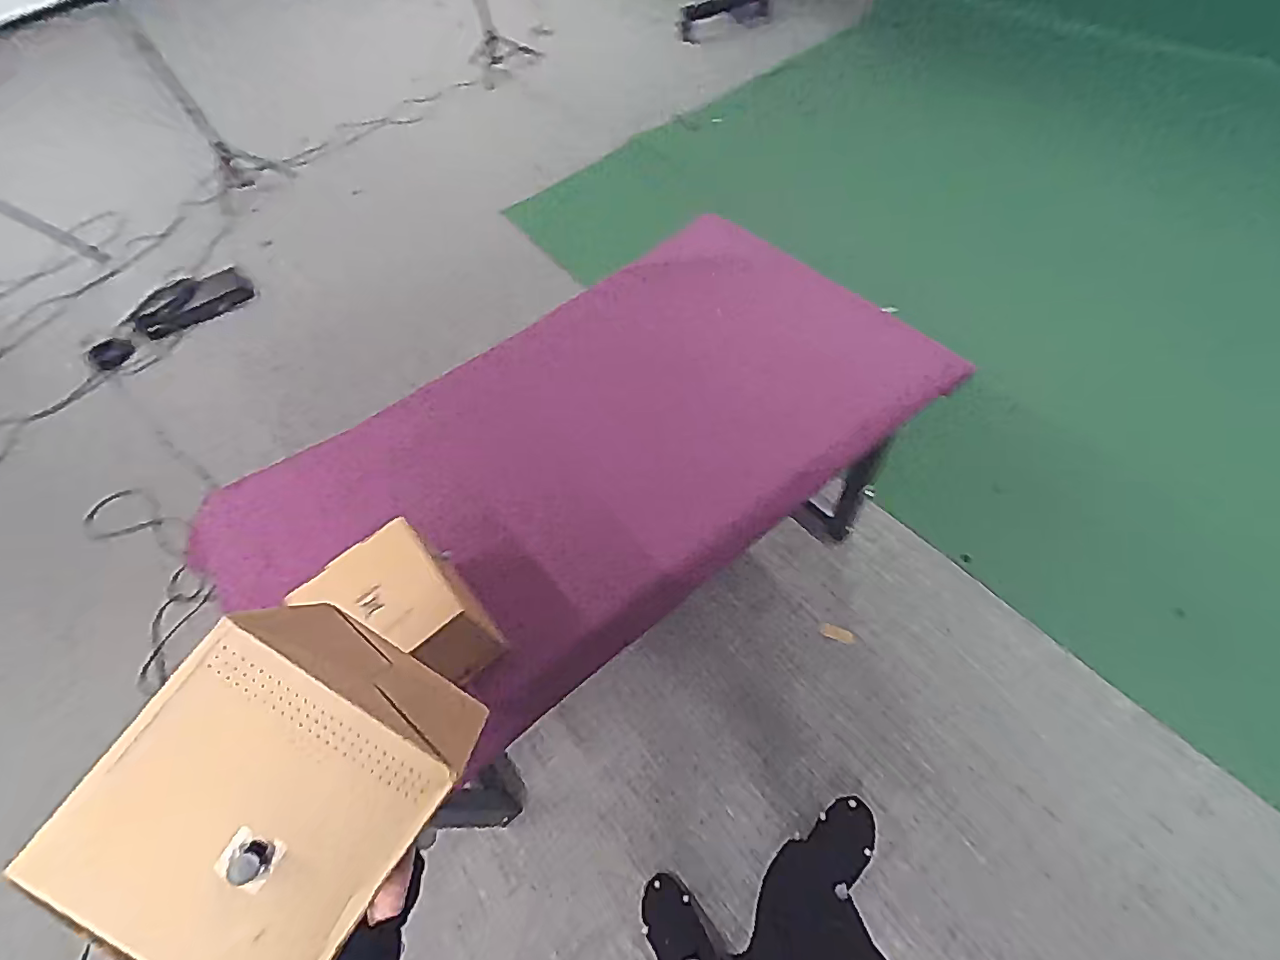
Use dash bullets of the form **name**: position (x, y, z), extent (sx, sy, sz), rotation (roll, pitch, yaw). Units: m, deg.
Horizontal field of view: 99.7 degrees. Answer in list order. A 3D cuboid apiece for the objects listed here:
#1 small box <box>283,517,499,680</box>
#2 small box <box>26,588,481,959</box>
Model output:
- **small box**: position (-0.315, 0.188, 0.708), extent (0.168, 0.176, 0.179), rotation (-38, 61, -16)
- **small box**: position (-0.233, 0.197, 0.391), extent (0.179, 0.168, 0.176), rotation (34, 75, -2)
